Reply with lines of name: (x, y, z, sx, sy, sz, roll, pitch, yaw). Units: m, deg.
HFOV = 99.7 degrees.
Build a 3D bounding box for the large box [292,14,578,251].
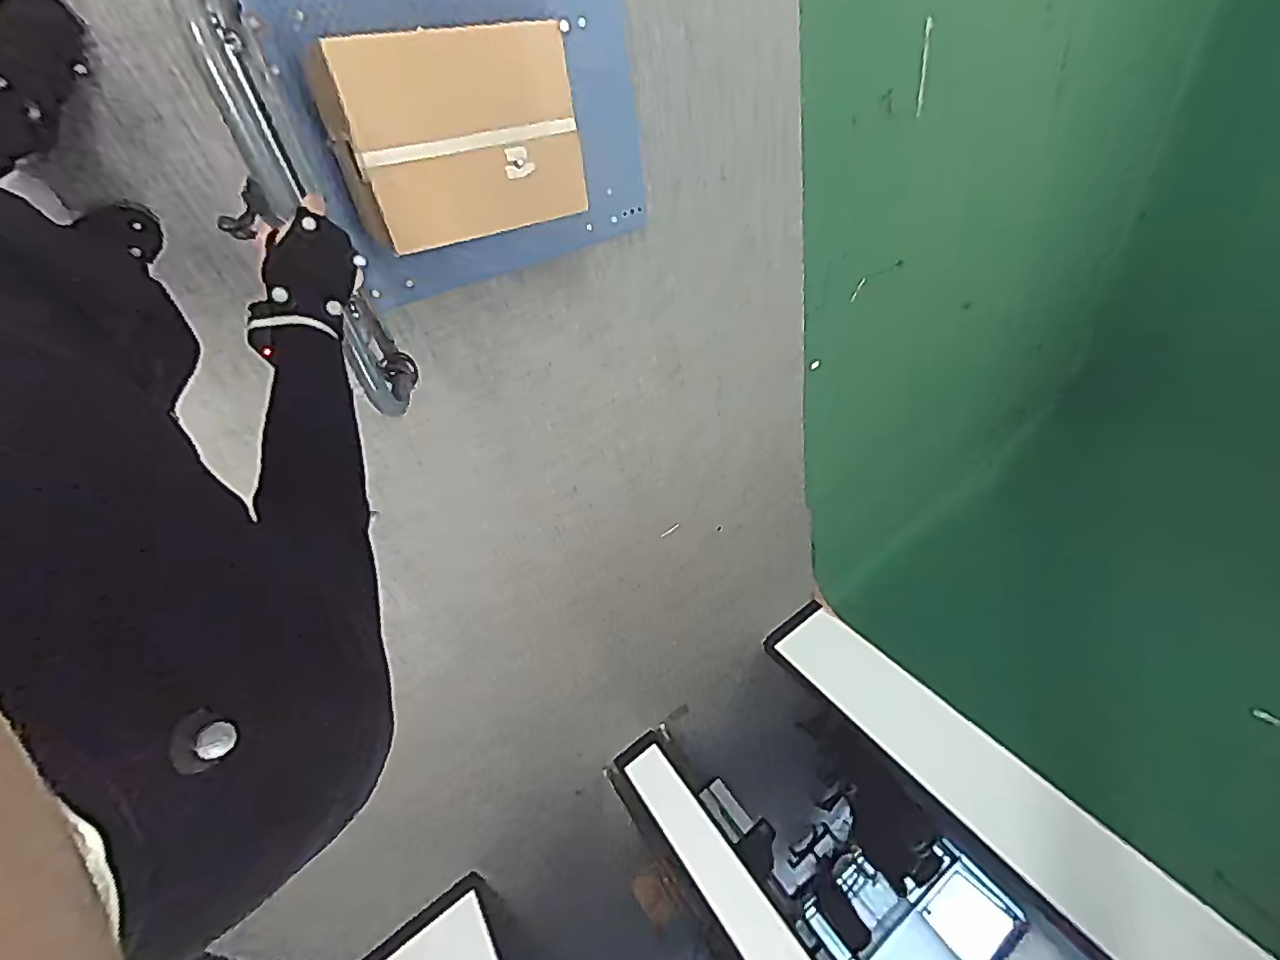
large box: (-0.392, -0.683, 1.070, 0.408, 0.320, 0.320, -26, 131, -23)
